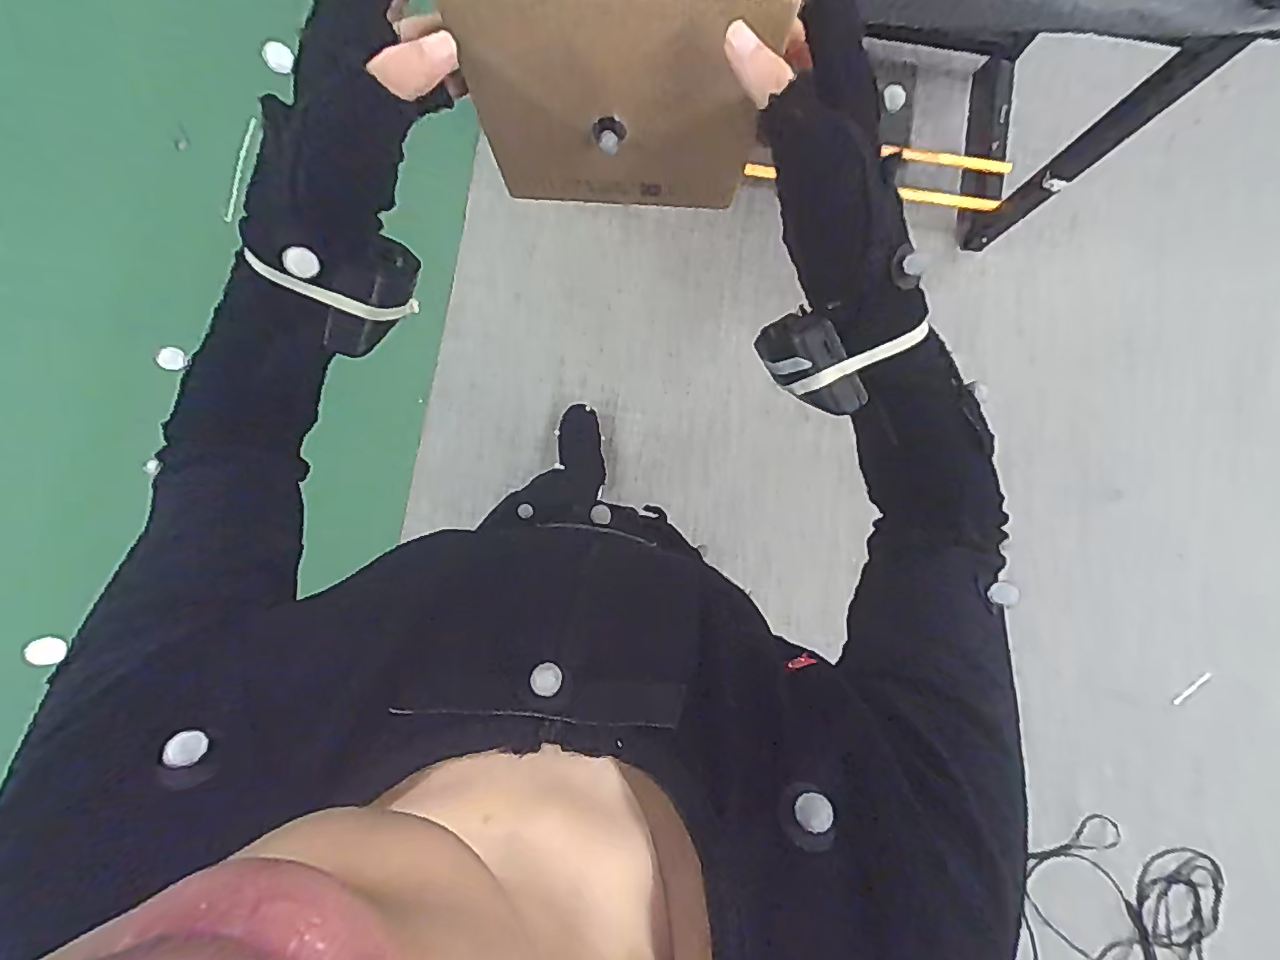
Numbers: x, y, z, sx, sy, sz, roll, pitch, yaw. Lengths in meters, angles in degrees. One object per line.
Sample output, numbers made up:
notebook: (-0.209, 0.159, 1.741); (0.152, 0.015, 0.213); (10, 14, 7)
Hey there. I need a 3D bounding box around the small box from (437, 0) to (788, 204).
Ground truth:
small box: (-0.008, -0.295, 0.326); (0.168, 0.176, 0.179); (3, 85, -1)
